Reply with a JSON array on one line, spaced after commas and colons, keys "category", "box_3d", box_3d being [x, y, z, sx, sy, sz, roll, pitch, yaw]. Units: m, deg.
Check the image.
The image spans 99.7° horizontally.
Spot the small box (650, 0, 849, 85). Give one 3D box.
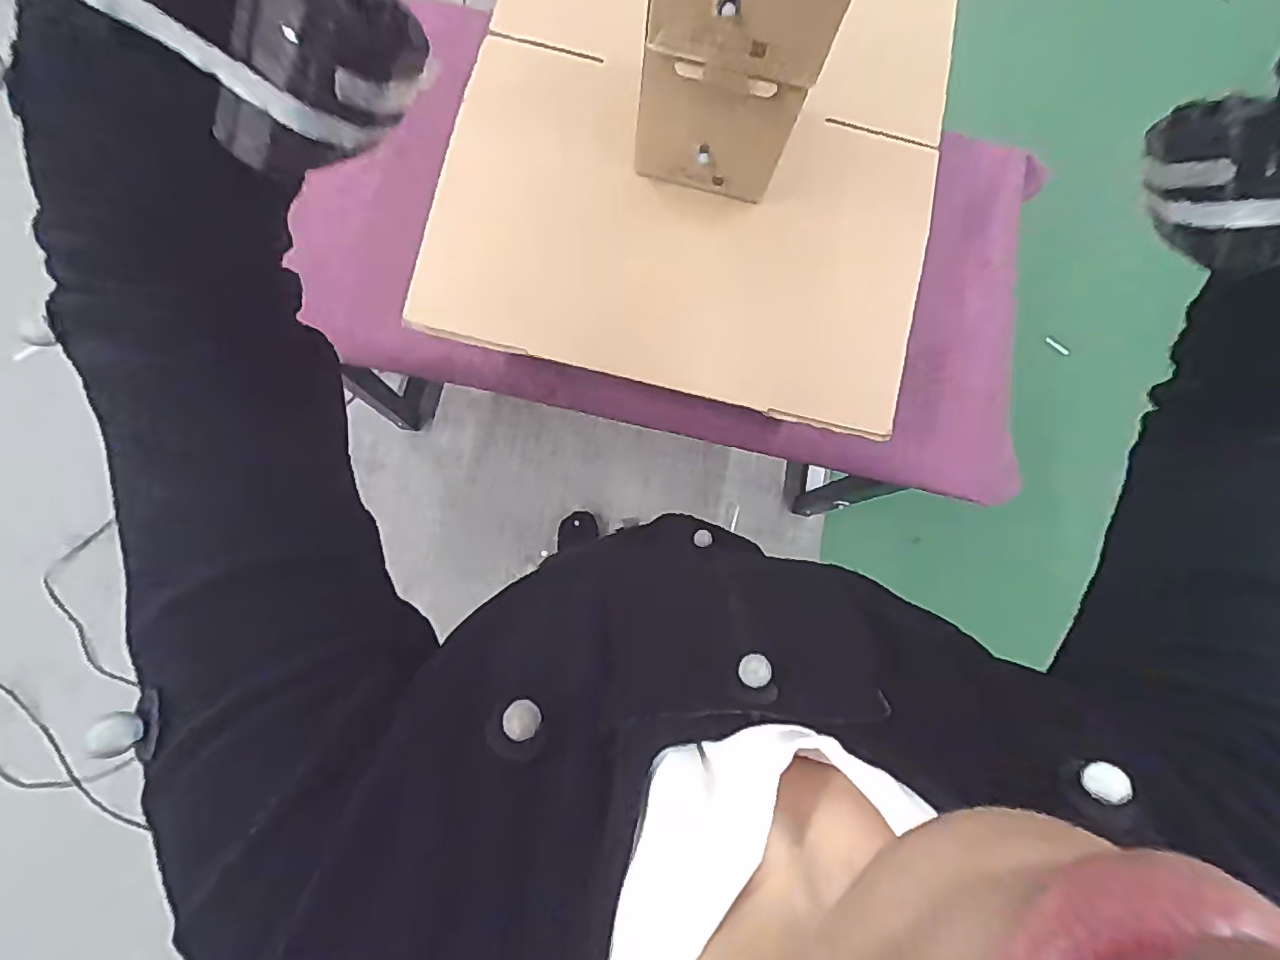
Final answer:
[{"category": "small box", "box_3d": [0.106, -0.486, 0.449, 0.168, 0.176, 0.179, 11, 79, -2]}]

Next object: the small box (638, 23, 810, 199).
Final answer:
[{"category": "small box", "box_3d": [0.096, -0.463, 0.610, 0.168, 0.176, 0.179, 13, 79, -1]}]
